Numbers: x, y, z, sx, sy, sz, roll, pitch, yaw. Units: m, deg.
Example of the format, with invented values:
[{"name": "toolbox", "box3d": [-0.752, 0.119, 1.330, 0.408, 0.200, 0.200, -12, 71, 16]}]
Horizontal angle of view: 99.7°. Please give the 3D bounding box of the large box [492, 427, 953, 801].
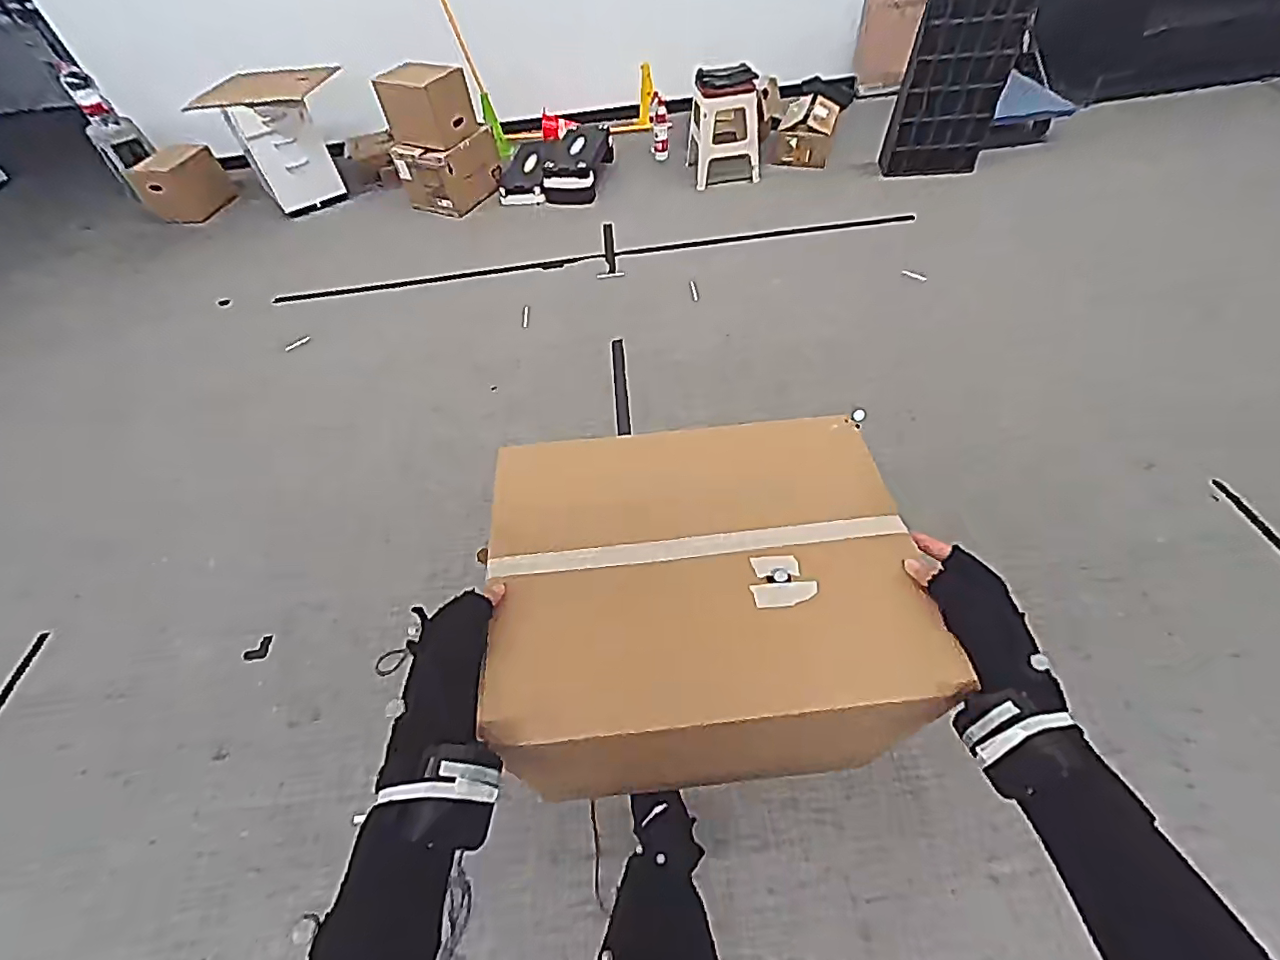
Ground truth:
[{"name": "large box", "box3d": [0.059, 0.169, 0.658, 0.408, 0.320, 0.320, -6, 53, -2]}]
